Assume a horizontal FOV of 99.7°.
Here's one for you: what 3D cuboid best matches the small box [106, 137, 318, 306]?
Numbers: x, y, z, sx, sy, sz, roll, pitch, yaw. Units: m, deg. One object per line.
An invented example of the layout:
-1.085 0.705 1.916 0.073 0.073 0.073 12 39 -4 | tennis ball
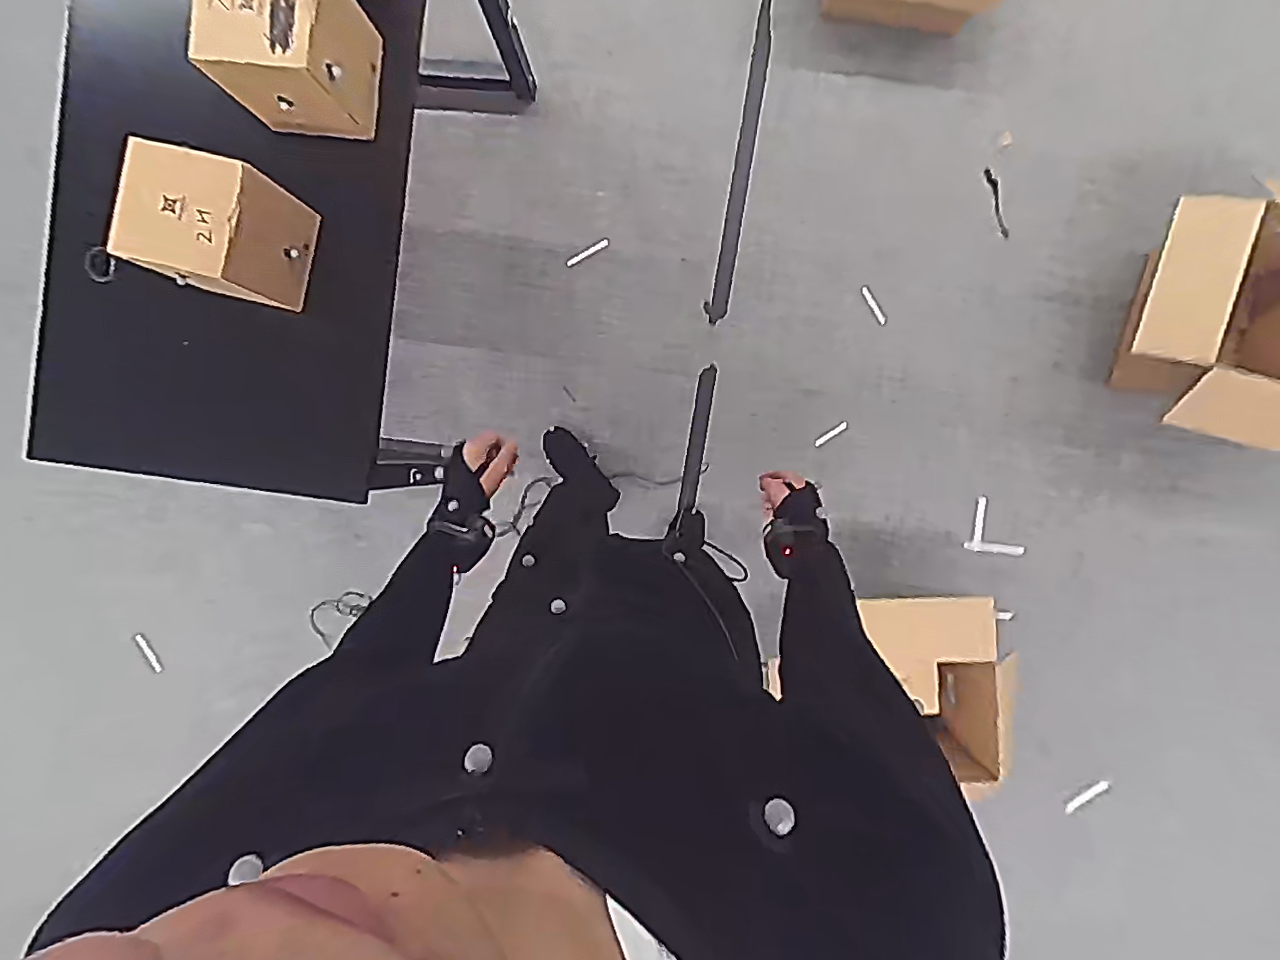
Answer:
-0.642 -0.382 0.829 0.179 0.176 0.168 13 93 2 | small box
